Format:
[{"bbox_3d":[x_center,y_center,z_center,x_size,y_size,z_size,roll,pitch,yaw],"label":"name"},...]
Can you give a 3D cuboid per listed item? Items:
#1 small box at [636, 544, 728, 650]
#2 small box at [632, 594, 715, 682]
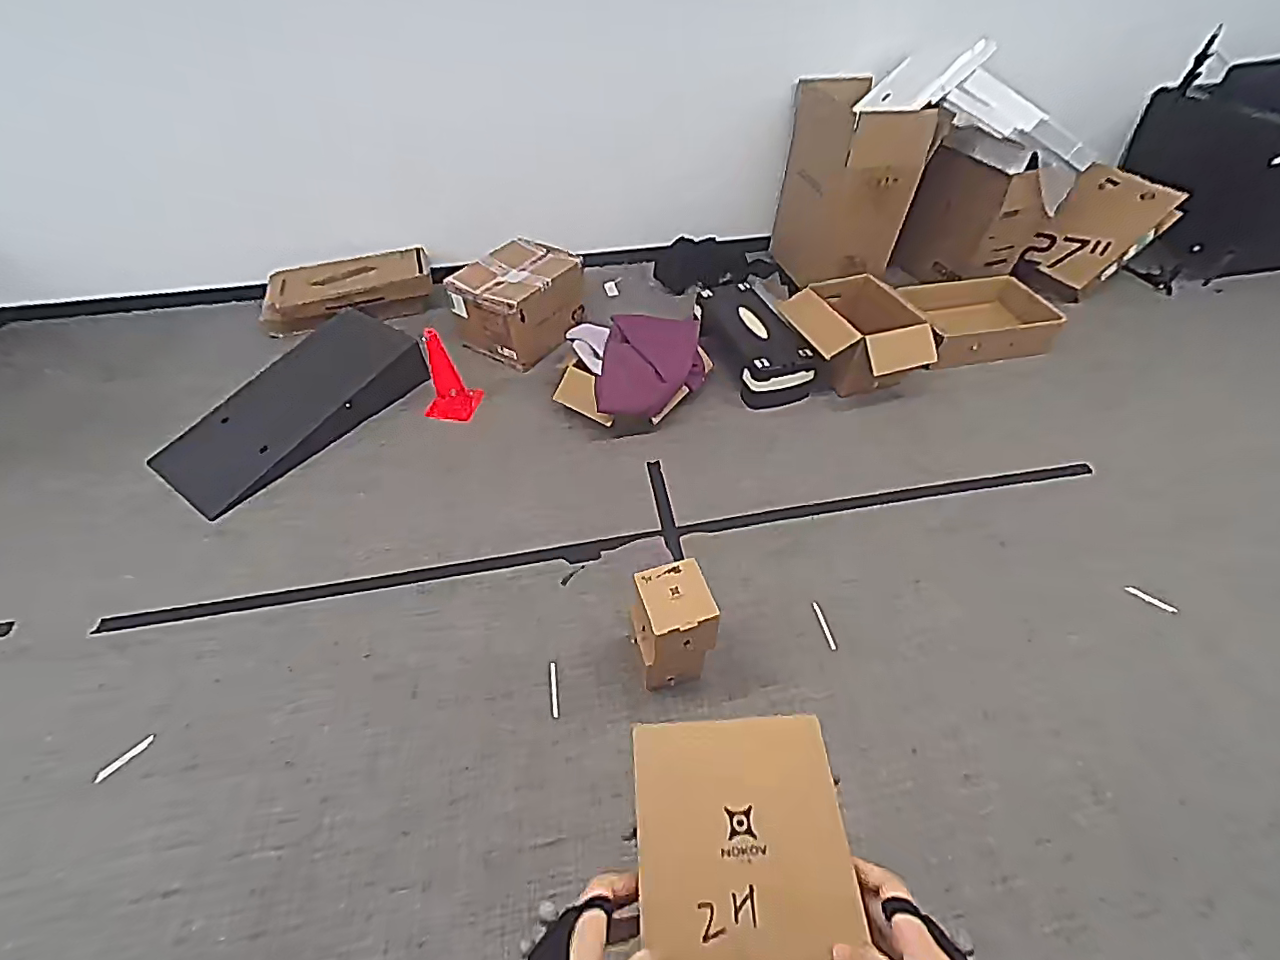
[{"bbox_3d":[0.096,0.284,1.283,0.168,0.176,0.179,-14,50,-11],"label":"small box"},{"bbox_3d":[0.080,0.395,1.405,0.168,0.176,0.179,-13,51,-10],"label":"small box"}]
